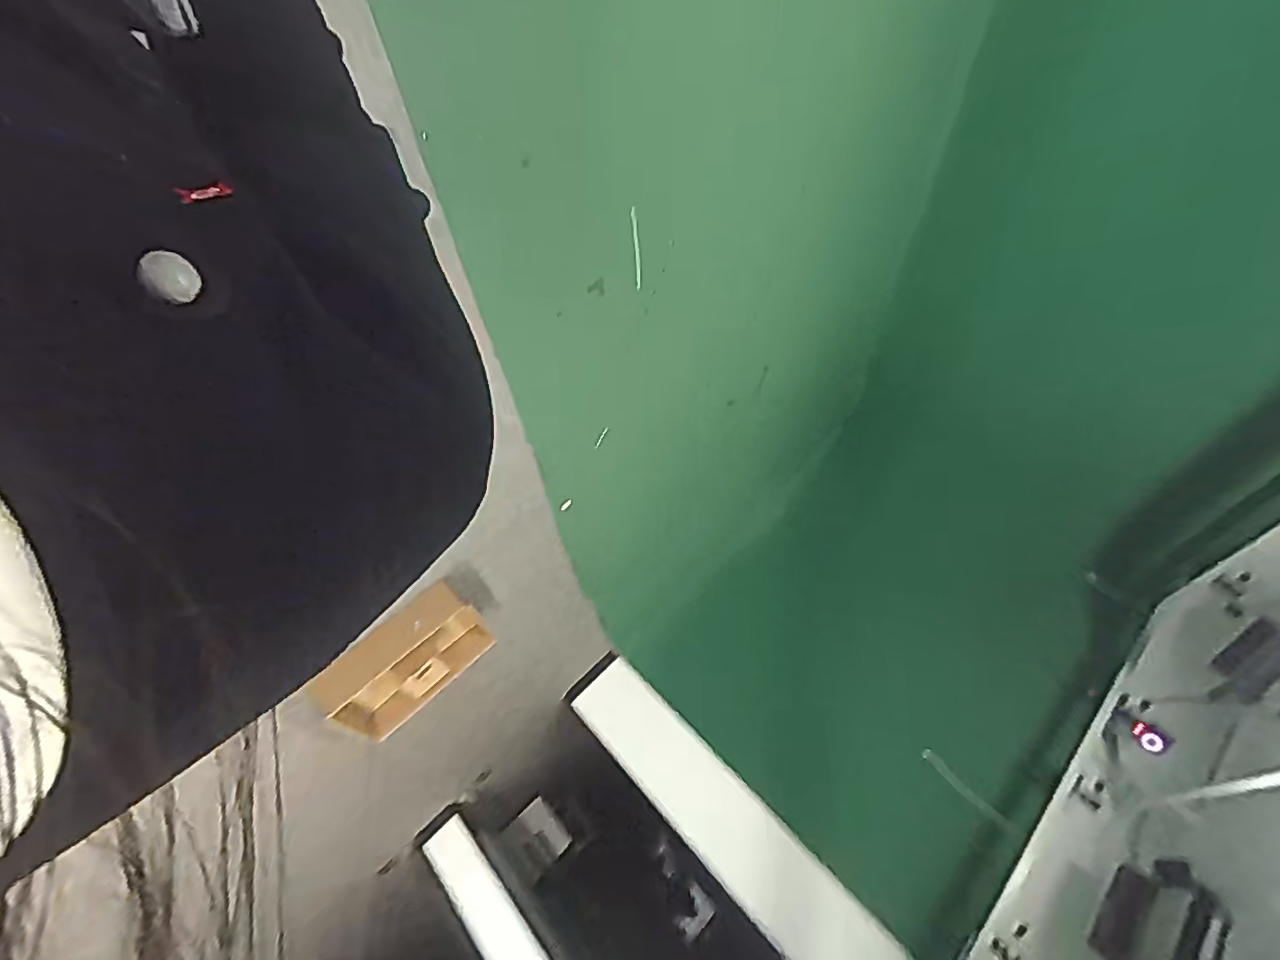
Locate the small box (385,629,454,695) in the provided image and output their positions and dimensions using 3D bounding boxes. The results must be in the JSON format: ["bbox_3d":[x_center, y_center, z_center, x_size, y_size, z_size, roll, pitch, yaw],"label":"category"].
[{"bbox_3d":[-0.902,0.738,2.207,0.168,0.176,0.179,-41,150,-20],"label":"small box"}]
